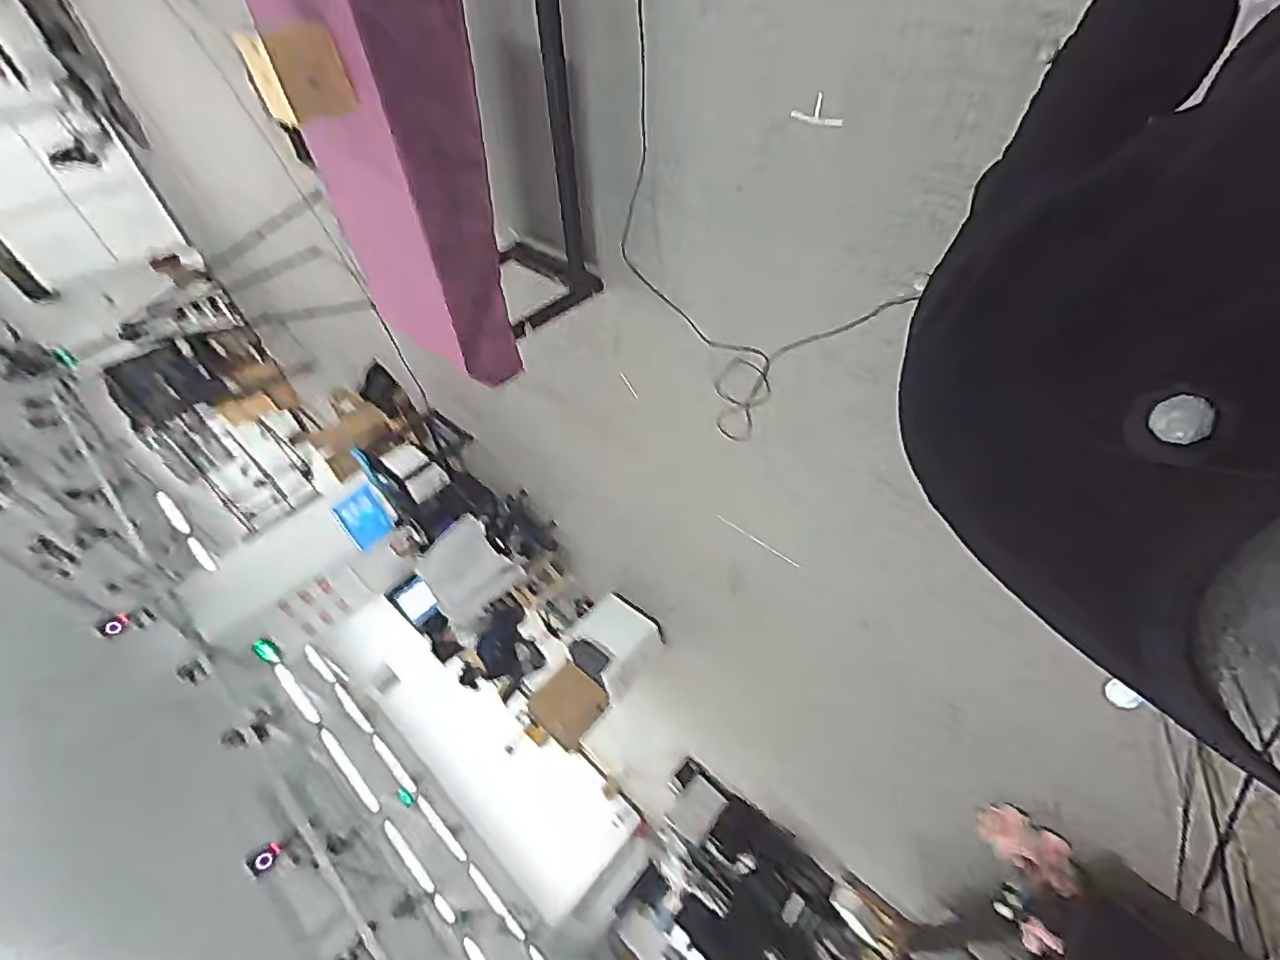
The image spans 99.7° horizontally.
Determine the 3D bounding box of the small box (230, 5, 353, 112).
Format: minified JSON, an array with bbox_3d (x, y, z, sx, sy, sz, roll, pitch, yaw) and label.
[{"bbox_3d":[-0.860,-1.055,1.352,0.168,0.176,0.179,32,148,29],"label":"small box"}]
